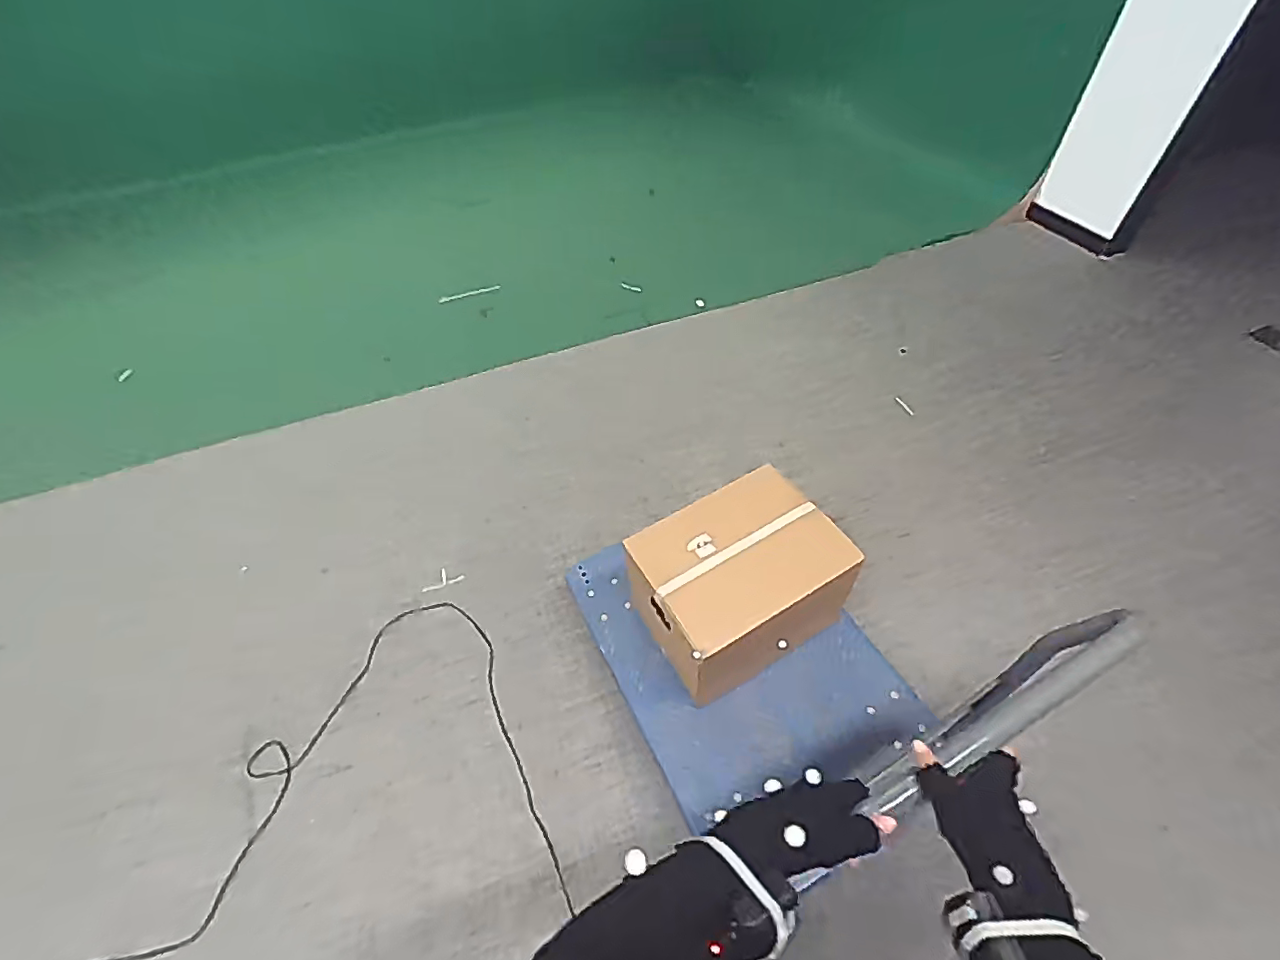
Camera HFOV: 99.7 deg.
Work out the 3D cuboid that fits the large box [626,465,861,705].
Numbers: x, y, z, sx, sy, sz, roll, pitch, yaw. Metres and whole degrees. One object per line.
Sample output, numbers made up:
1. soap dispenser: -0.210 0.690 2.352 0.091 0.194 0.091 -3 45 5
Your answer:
1. large box: 0.226 0.241 1.252 0.408 0.320 0.320 -28 52 -14
